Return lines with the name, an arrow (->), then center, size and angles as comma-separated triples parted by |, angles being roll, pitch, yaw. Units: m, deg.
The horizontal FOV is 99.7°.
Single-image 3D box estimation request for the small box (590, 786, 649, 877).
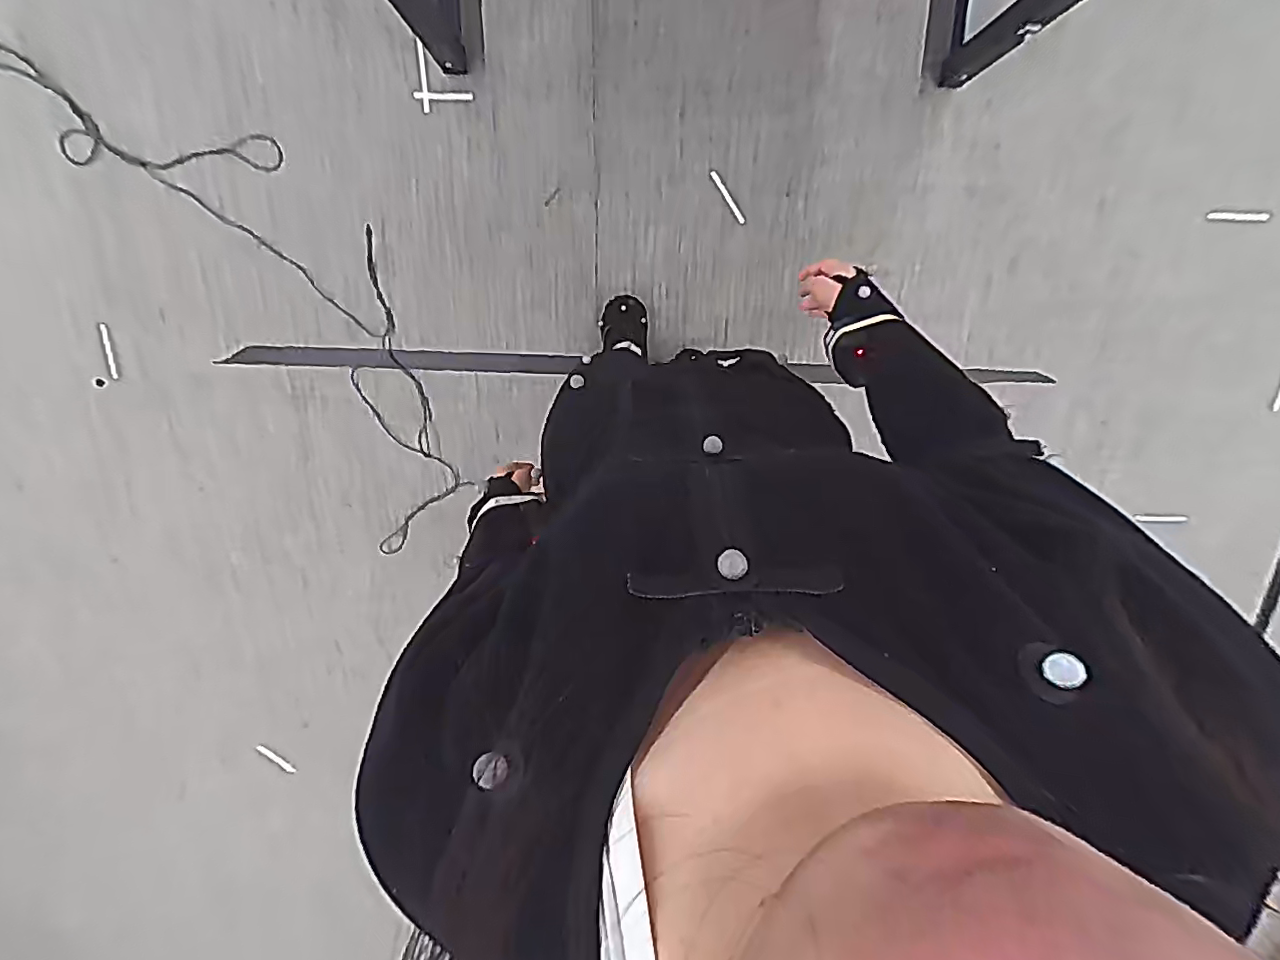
small box -> -0.064, 1.127, 1.739 | 0.168, 0.176, 0.179 | -8, 106, 0
